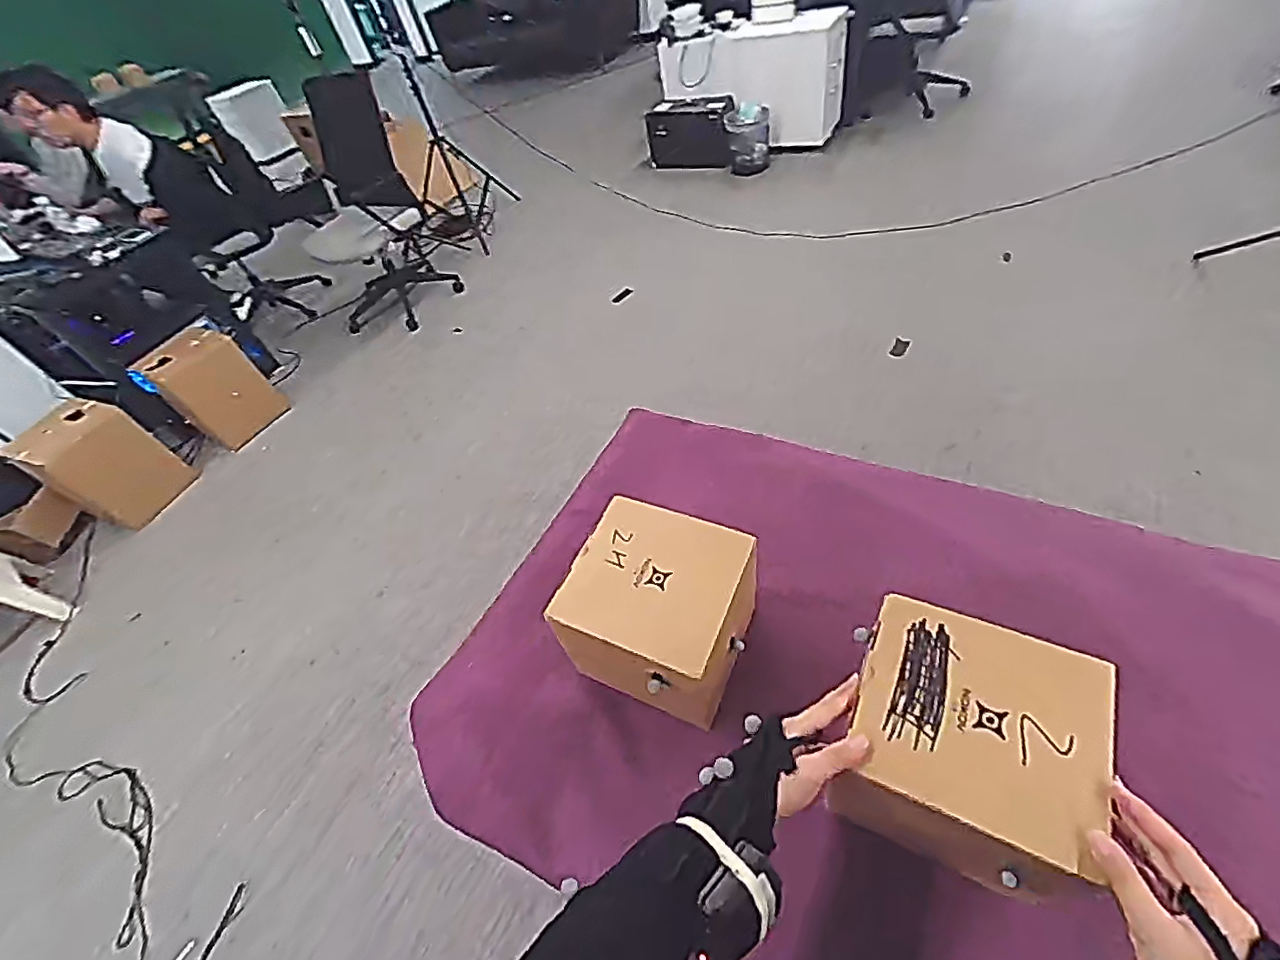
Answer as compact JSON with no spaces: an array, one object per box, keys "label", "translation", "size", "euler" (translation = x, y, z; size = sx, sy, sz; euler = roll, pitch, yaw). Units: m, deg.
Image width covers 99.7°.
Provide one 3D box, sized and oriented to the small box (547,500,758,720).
[{"label":"small box","translation":[0.027,0.154,0.627],"size":[0.179,0.176,0.168],"euler":[16,55,23]}]
